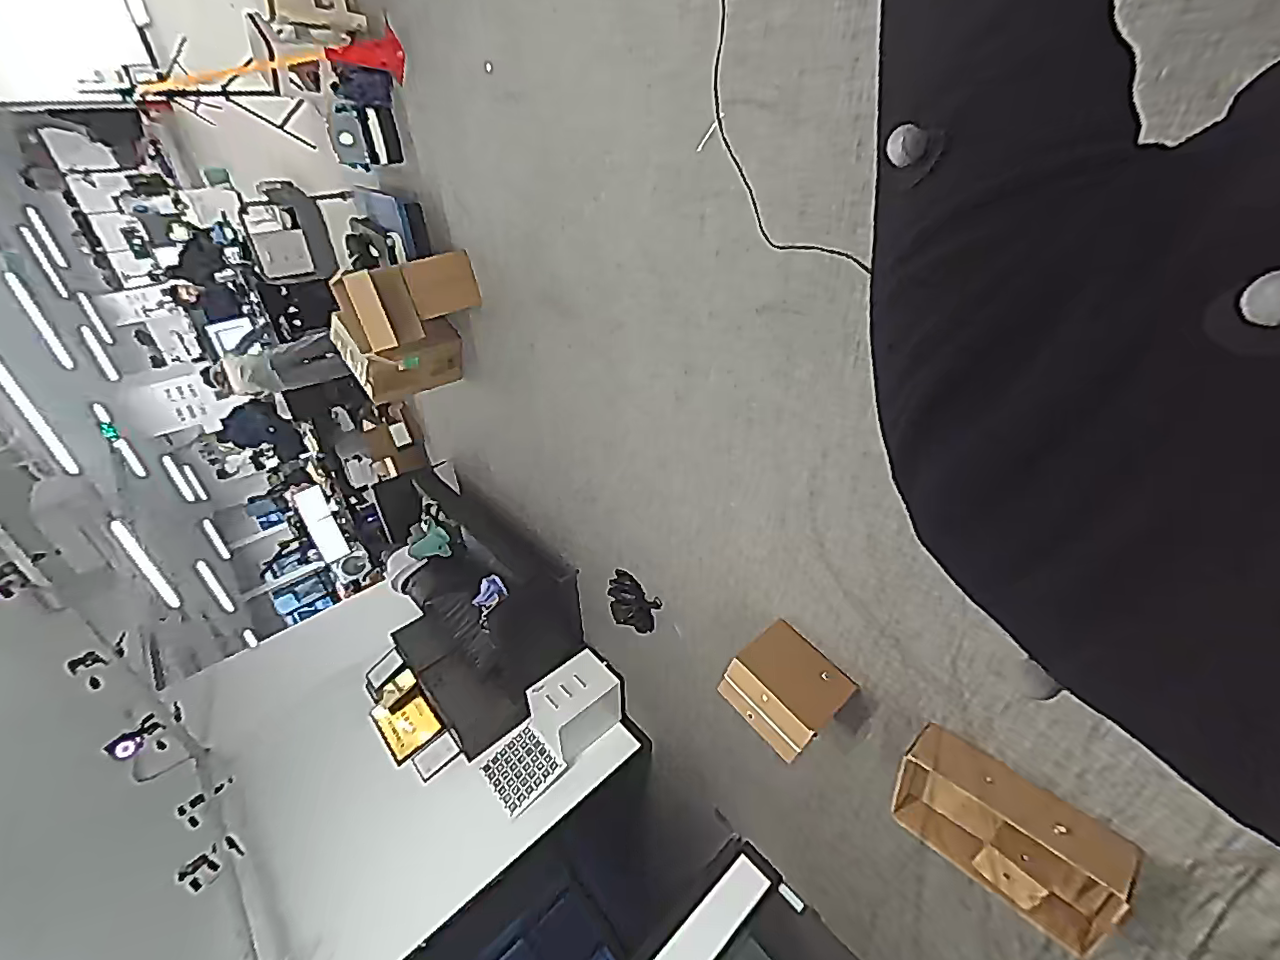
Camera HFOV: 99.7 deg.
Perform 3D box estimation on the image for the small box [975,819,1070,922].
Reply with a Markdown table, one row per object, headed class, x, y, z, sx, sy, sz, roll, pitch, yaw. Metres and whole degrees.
| class | x | y | z | sx | sy | sz | roll | pitch | yaw |
| --- | --- | --- | --- | --- | --- | --- | --- | --- | --- |
| small box | 1.224 | 1.242 | 1.728 | 0.179 | 0.176 | 0.168 | 34 | 137 | 40 |
